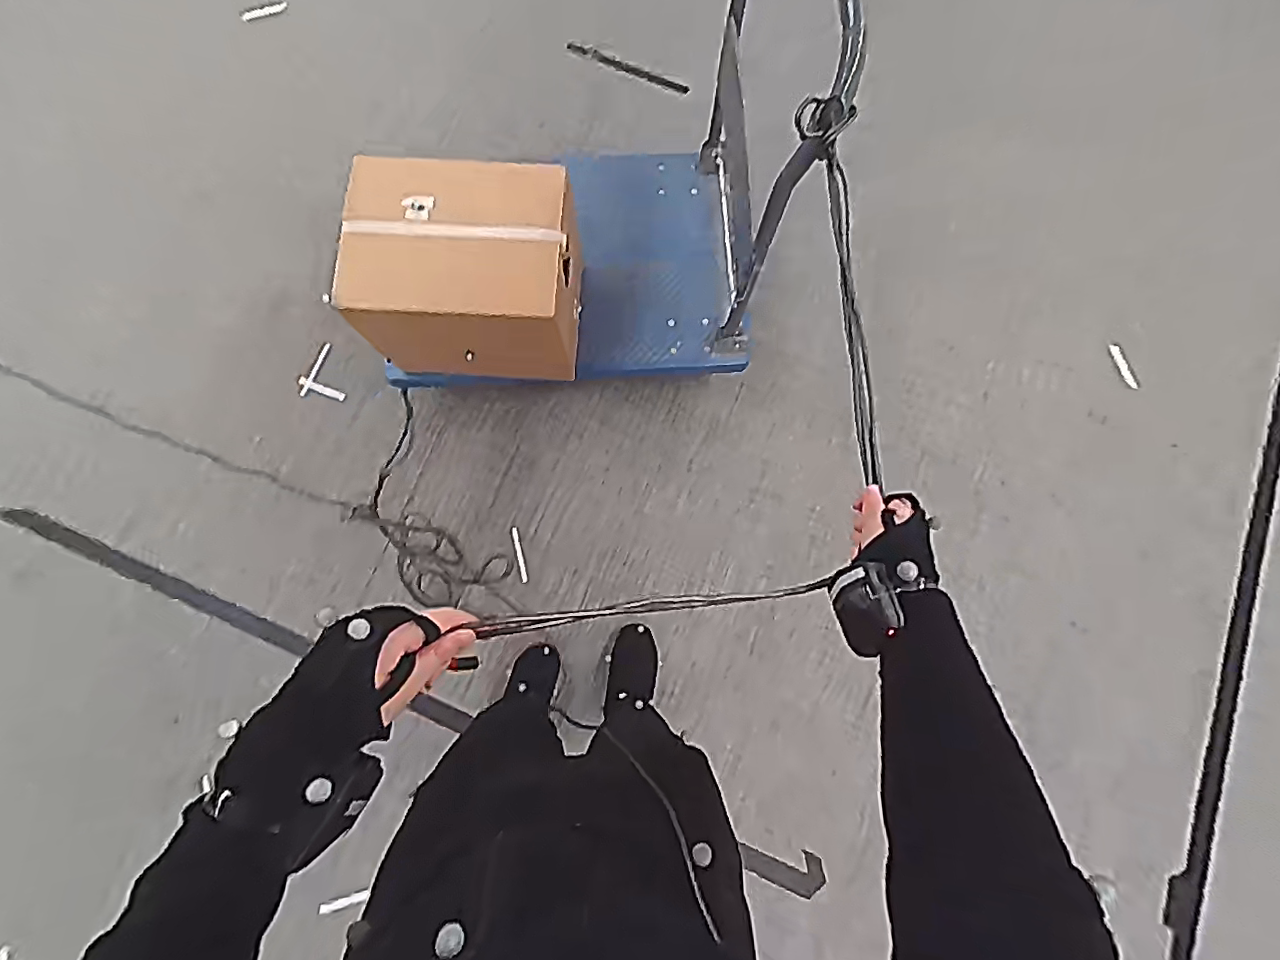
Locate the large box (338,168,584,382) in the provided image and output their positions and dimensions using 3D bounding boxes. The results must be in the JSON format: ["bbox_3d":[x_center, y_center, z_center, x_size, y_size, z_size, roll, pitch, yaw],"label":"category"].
[{"bbox_3d":[-0.335,-0.406,1.134,0.408,0.320,0.320,3,78,1],"label":"large box"}]
